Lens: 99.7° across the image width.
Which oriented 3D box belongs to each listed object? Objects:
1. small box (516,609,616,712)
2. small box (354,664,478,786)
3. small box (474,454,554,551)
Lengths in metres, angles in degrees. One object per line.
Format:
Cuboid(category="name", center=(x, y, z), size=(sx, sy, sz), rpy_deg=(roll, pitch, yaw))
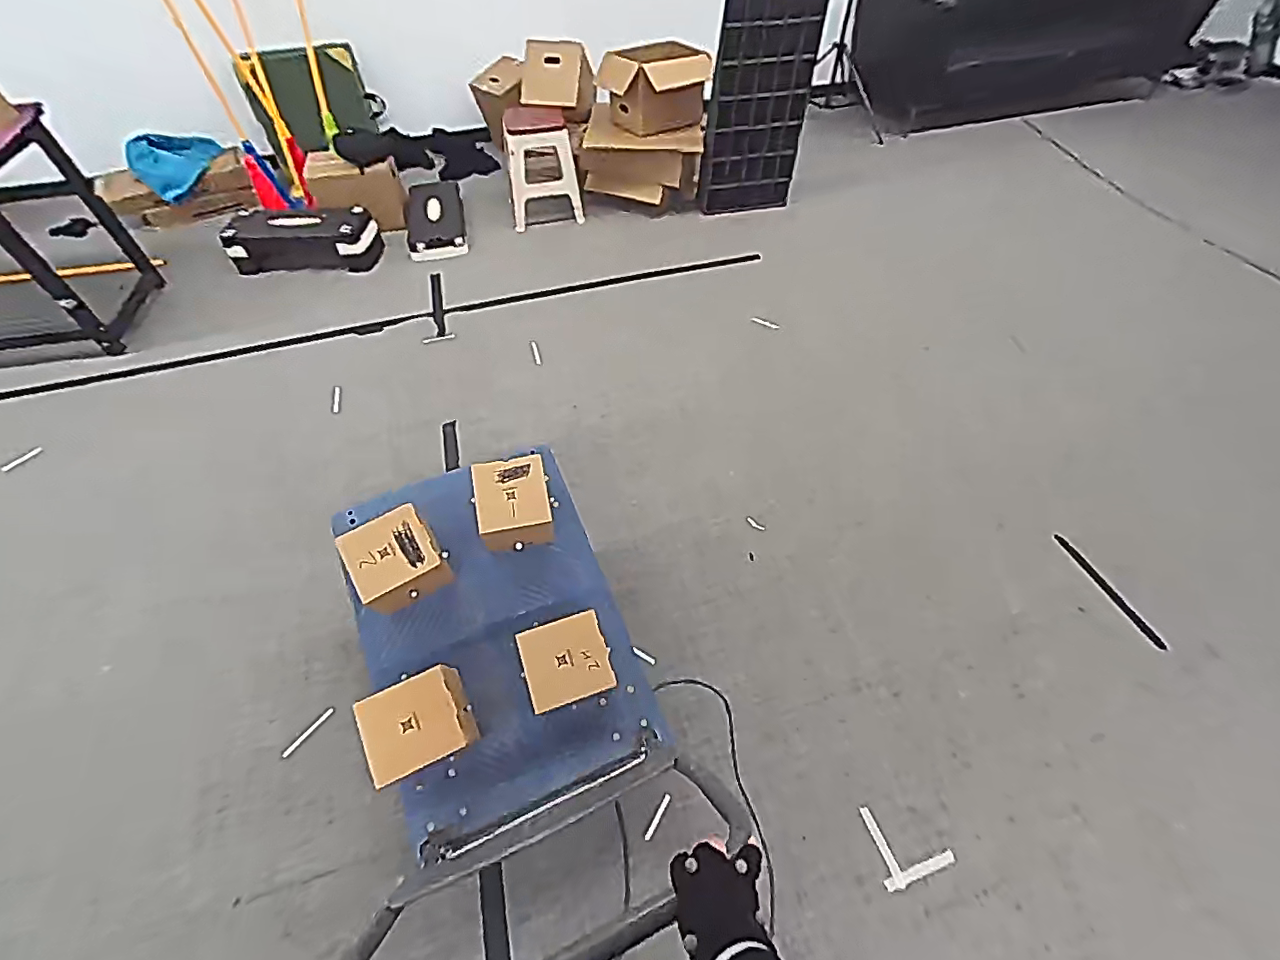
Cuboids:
Cuboid(category="small box", center=(-0.162, 0.402, 1.193), size=(0.179, 0.176, 0.168), rpy_deg=(-15, 70, -13))
Cuboid(category="small box", center=(-0.454, 0.501, 1.116), size=(0.179, 0.176, 0.168), rpy_deg=(-22, 71, -17))
Cuboid(category="small box", center=(-0.304, 0.059, 1.322), size=(0.168, 0.176, 0.179), rpy_deg=(-9, 69, -11))
